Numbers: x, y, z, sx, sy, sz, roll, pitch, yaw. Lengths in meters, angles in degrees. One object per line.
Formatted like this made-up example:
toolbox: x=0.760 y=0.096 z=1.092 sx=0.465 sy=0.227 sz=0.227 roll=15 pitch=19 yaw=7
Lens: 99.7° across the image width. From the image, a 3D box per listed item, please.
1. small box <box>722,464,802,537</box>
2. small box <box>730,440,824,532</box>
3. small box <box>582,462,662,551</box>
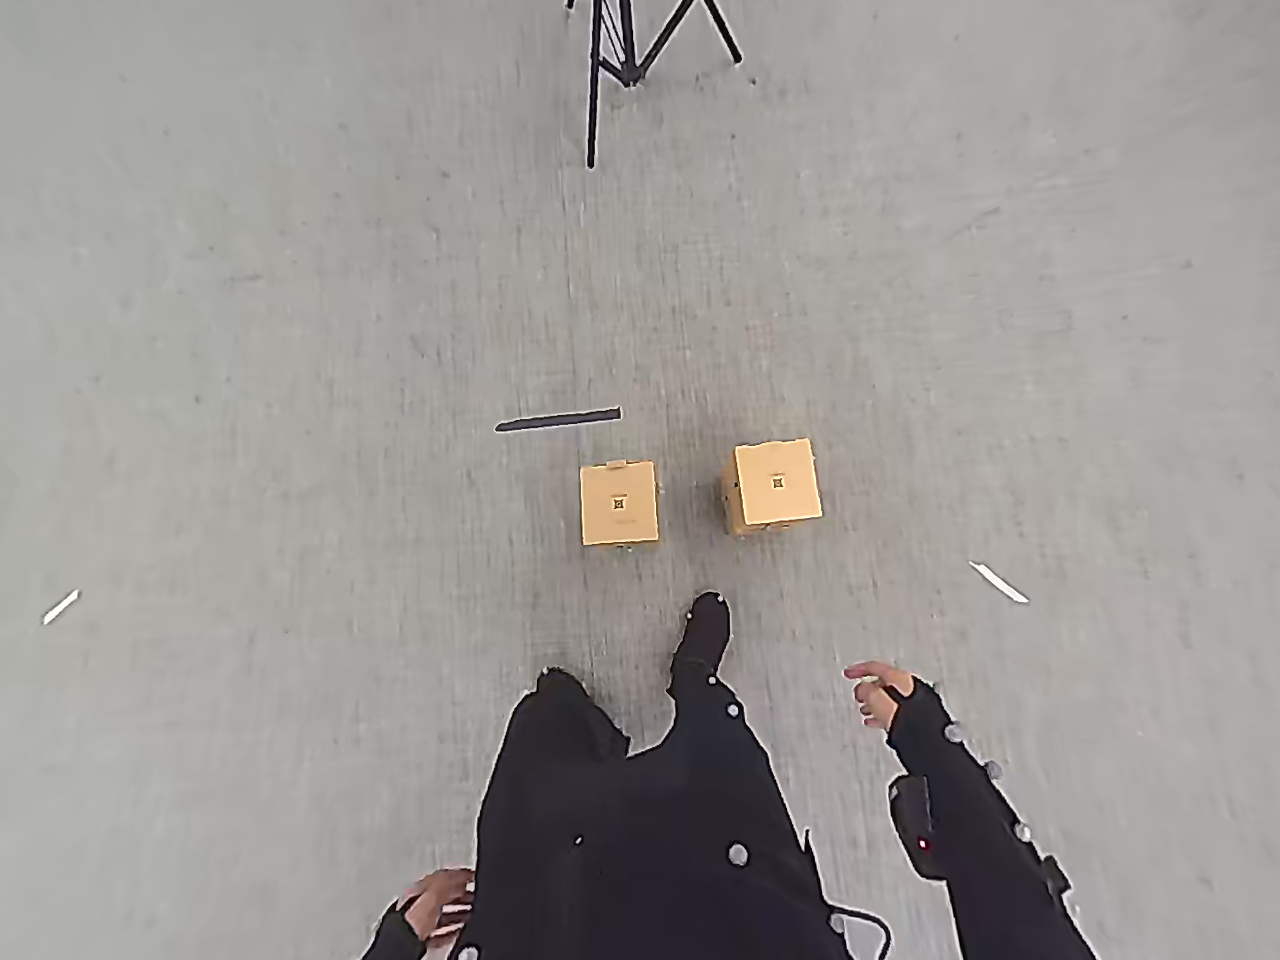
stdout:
small box: x=0.309 y=0.051 z=1.388 sx=0.168 sy=0.176 sz=0.179 roll=-7 pitch=79 yaw=2
small box: x=0.302 y=0.022 z=1.228 sx=0.168 sy=0.176 sz=0.179 roll=-7 pitch=79 yaw=2
small box: x=-0.038 y=0.066 z=1.238 sx=0.168 sy=0.176 sz=0.179 roll=-4 pitch=79 yaw=3
